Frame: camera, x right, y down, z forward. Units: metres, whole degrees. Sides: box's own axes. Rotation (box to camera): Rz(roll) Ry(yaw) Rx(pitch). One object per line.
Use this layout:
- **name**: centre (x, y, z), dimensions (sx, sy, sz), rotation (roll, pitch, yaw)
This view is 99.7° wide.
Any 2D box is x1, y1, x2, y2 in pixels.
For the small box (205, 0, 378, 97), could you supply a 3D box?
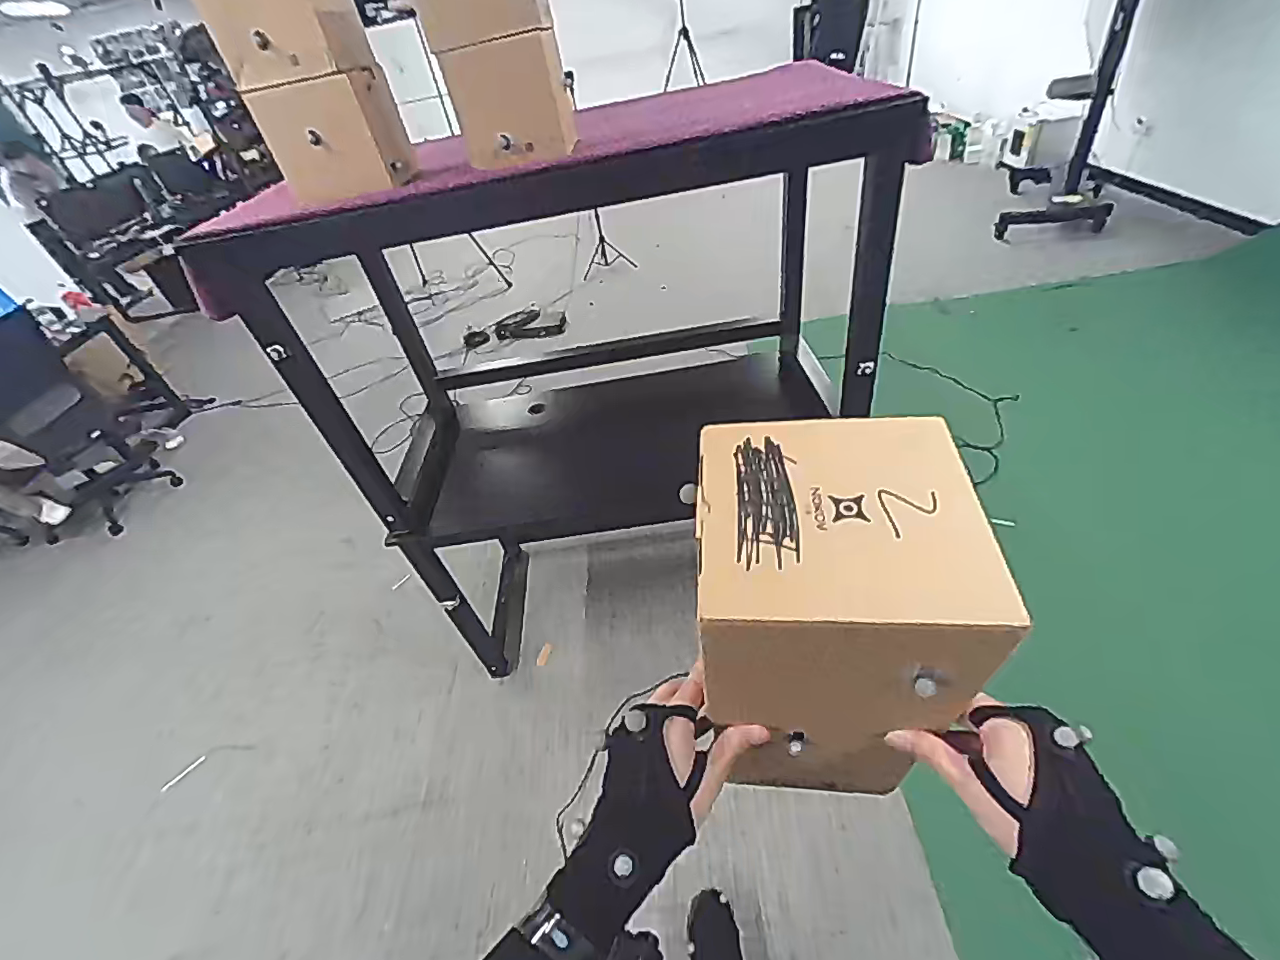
- **small box**: centre (-0.540, -0.714, 0.842), dimensions (0.168, 0.176, 0.179), rotation (-9, 41, 5)

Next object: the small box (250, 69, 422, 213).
- **small box**: centre (-0.509, -0.588, 0.940), dimensions (0.179, 0.176, 0.168), rotation (-9, 40, 5)

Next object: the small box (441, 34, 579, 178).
- **small box**: centre (-0.205, -0.630, 0.914), dimensions (0.168, 0.176, 0.179), rotation (-8, 41, 7)

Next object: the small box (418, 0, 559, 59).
- **small box**: centre (-0.236, -0.749, 0.805), dimensions (0.179, 0.176, 0.168), rotation (-9, 40, 7)
